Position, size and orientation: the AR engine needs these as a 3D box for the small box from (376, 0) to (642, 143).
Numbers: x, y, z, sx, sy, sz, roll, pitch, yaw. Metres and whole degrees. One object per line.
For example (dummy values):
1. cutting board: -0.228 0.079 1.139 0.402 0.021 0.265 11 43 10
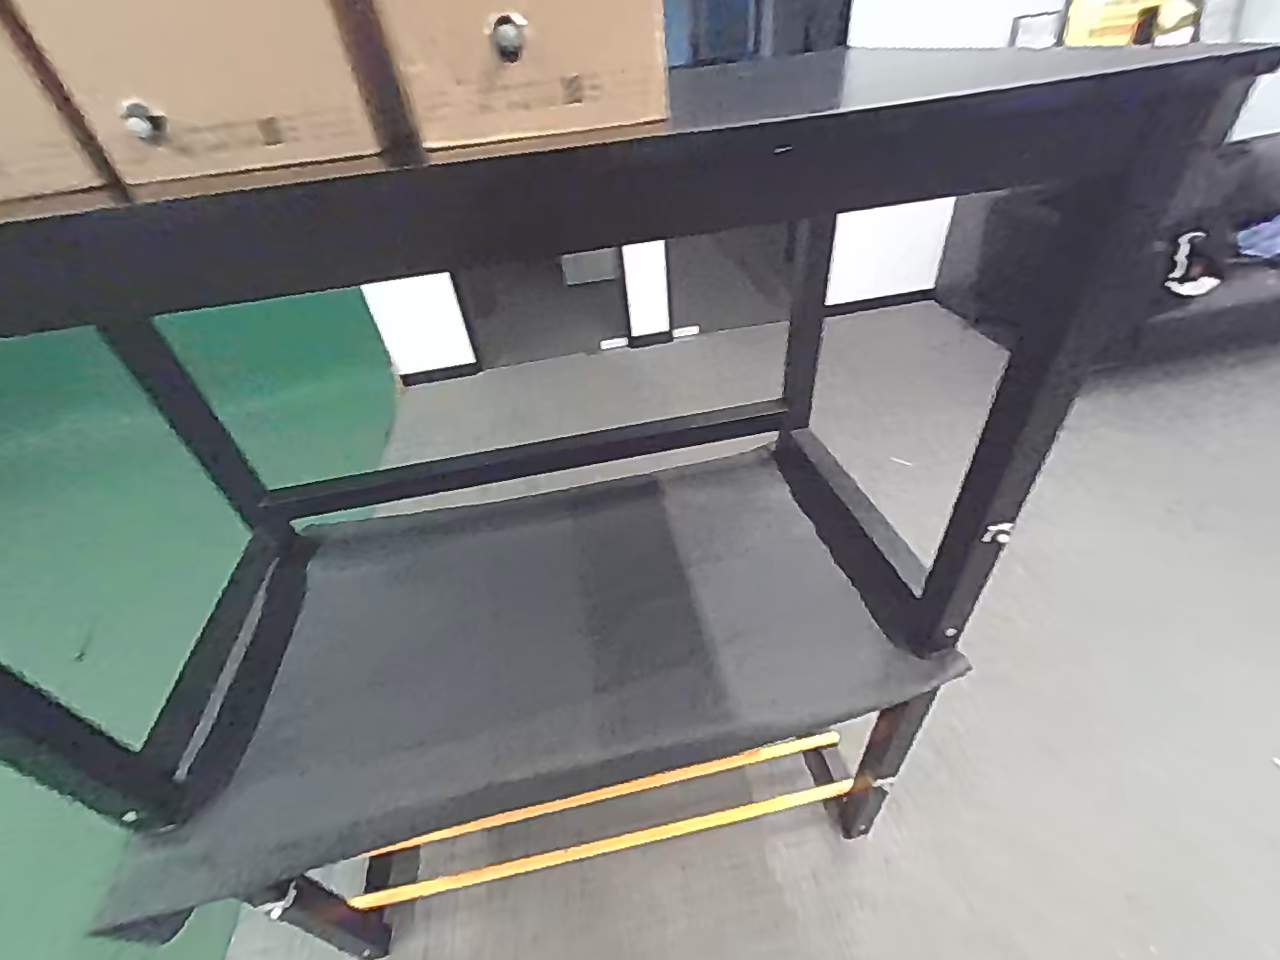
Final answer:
1. small box: -0.096 -0.357 0.395 0.168 0.176 0.179 -10 39 -5
